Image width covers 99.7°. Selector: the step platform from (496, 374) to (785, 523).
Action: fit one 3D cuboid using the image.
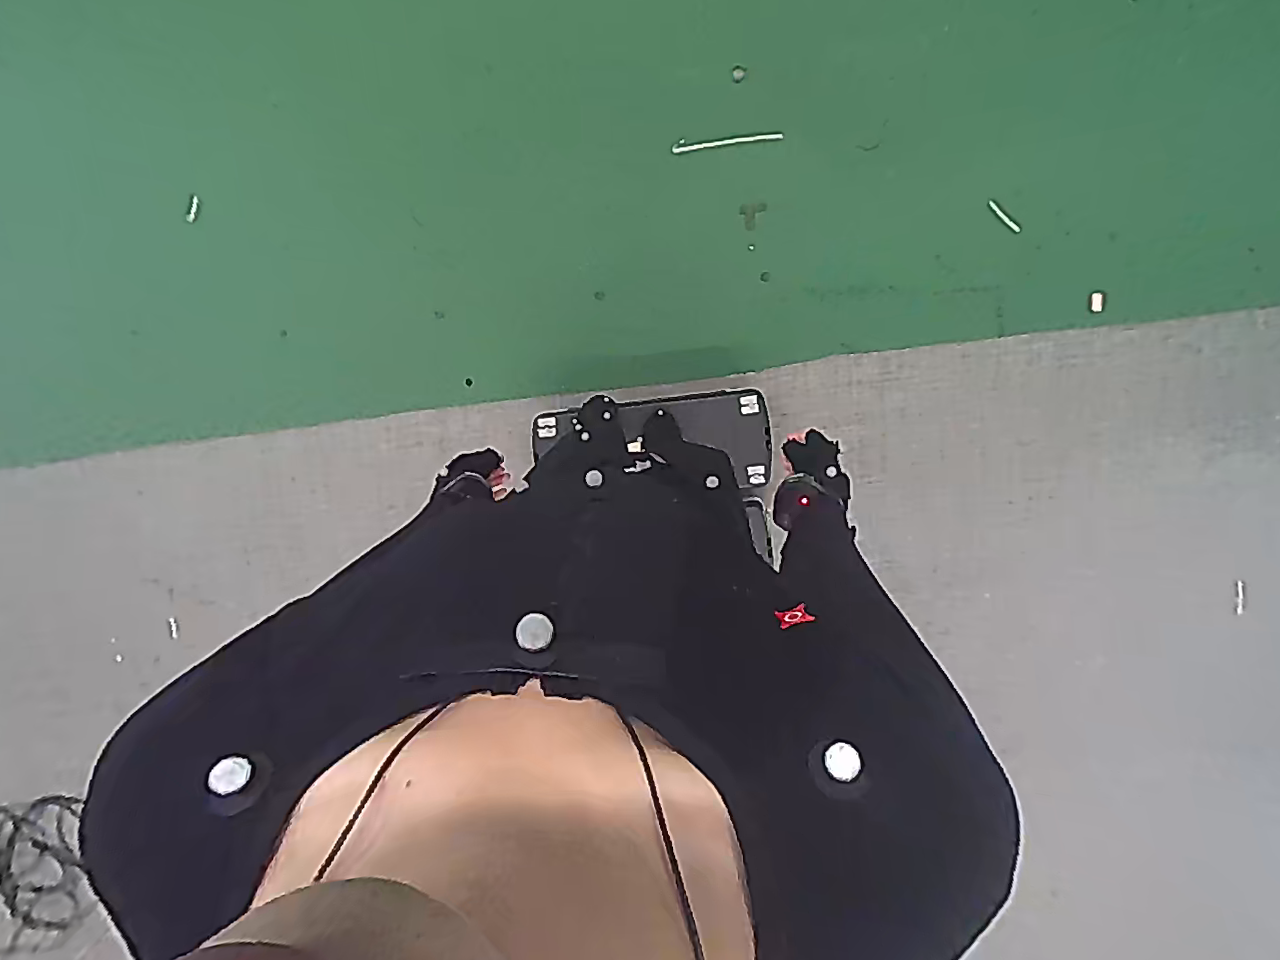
[{"bbox_3d":[0.004,-0.085,1.371,0.684,0.204,0.286,-7,98,3],"label":"step platform"}]
